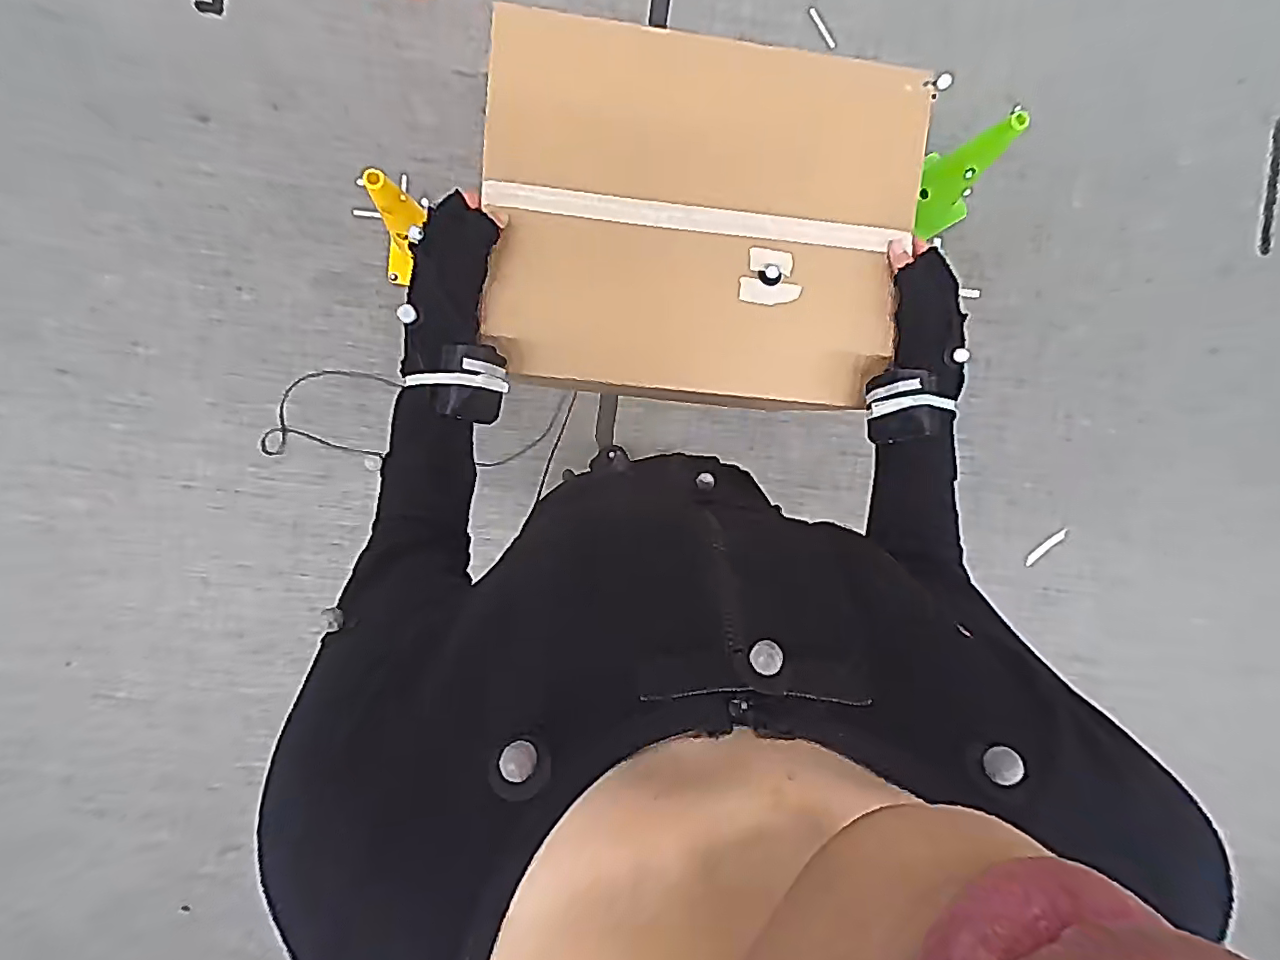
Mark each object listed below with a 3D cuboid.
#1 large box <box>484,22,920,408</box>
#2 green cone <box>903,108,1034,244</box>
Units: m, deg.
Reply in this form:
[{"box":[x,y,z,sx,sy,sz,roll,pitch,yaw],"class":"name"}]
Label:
[{"box":[0.045,-0.259,0.658,0.408,0.320,0.320,5,97,-5],"class":"large box"},{"box":[0.802,-0.776,1.331,0.202,0.368,0.200,-31,95,-4],"class":"green cone"}]
